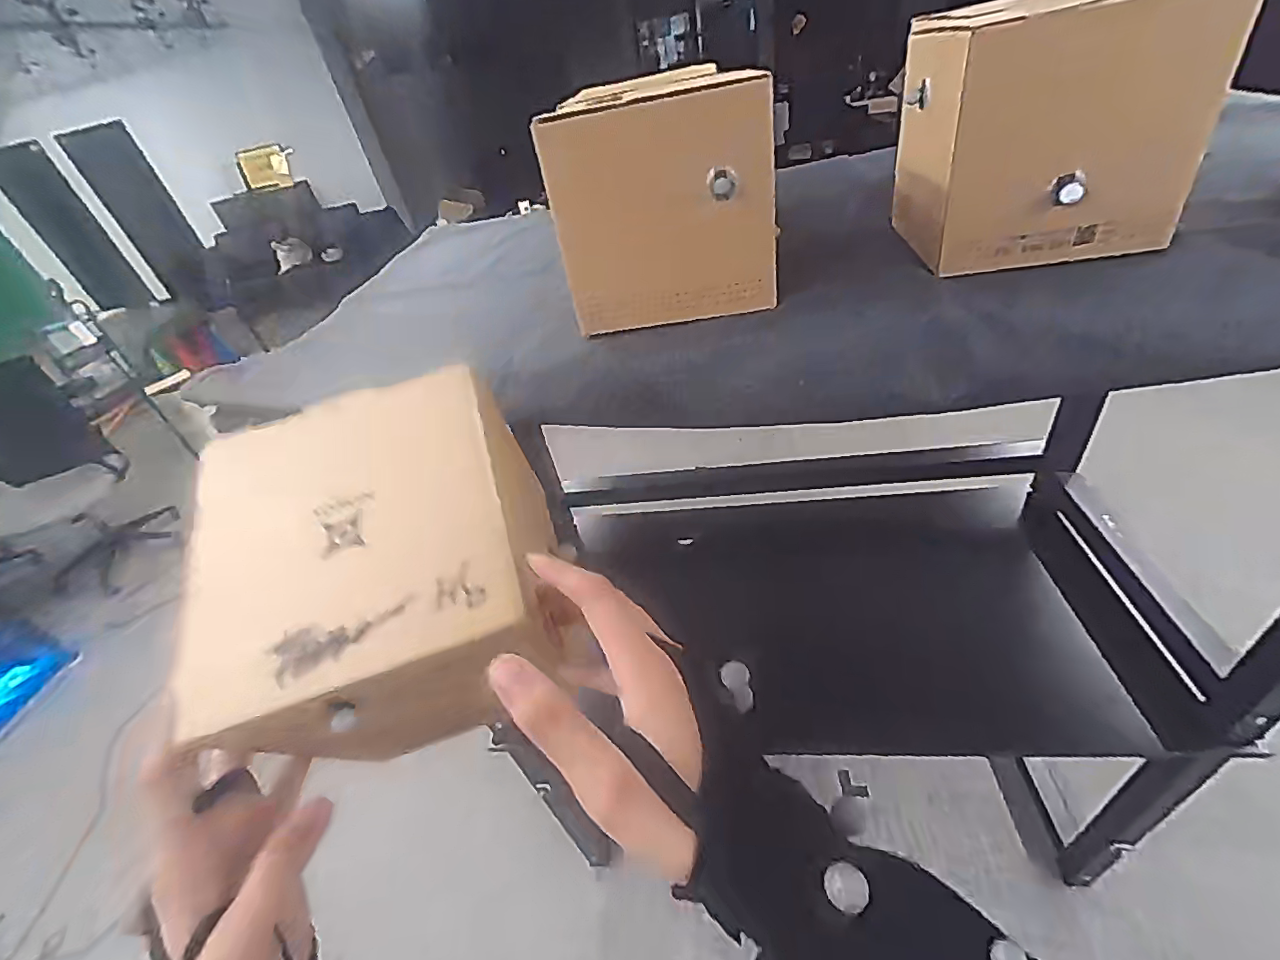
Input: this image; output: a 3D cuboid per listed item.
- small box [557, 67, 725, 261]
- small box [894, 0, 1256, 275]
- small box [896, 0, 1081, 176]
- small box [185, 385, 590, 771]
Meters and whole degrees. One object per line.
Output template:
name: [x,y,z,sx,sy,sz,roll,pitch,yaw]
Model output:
small box: [0.015,-0.396,0.684,0.179,0.176,0.168,-5,39,11]
small box: [0.325,-0.288,0.456,0.168,0.176,0.179,-3,38,13]
small box: [0.409,-0.431,0.612,0.168,0.176,0.179,-5,39,8]
small box: [-0.143,0.073,0.362,0.168,0.176,0.179,-18,58,-3]
